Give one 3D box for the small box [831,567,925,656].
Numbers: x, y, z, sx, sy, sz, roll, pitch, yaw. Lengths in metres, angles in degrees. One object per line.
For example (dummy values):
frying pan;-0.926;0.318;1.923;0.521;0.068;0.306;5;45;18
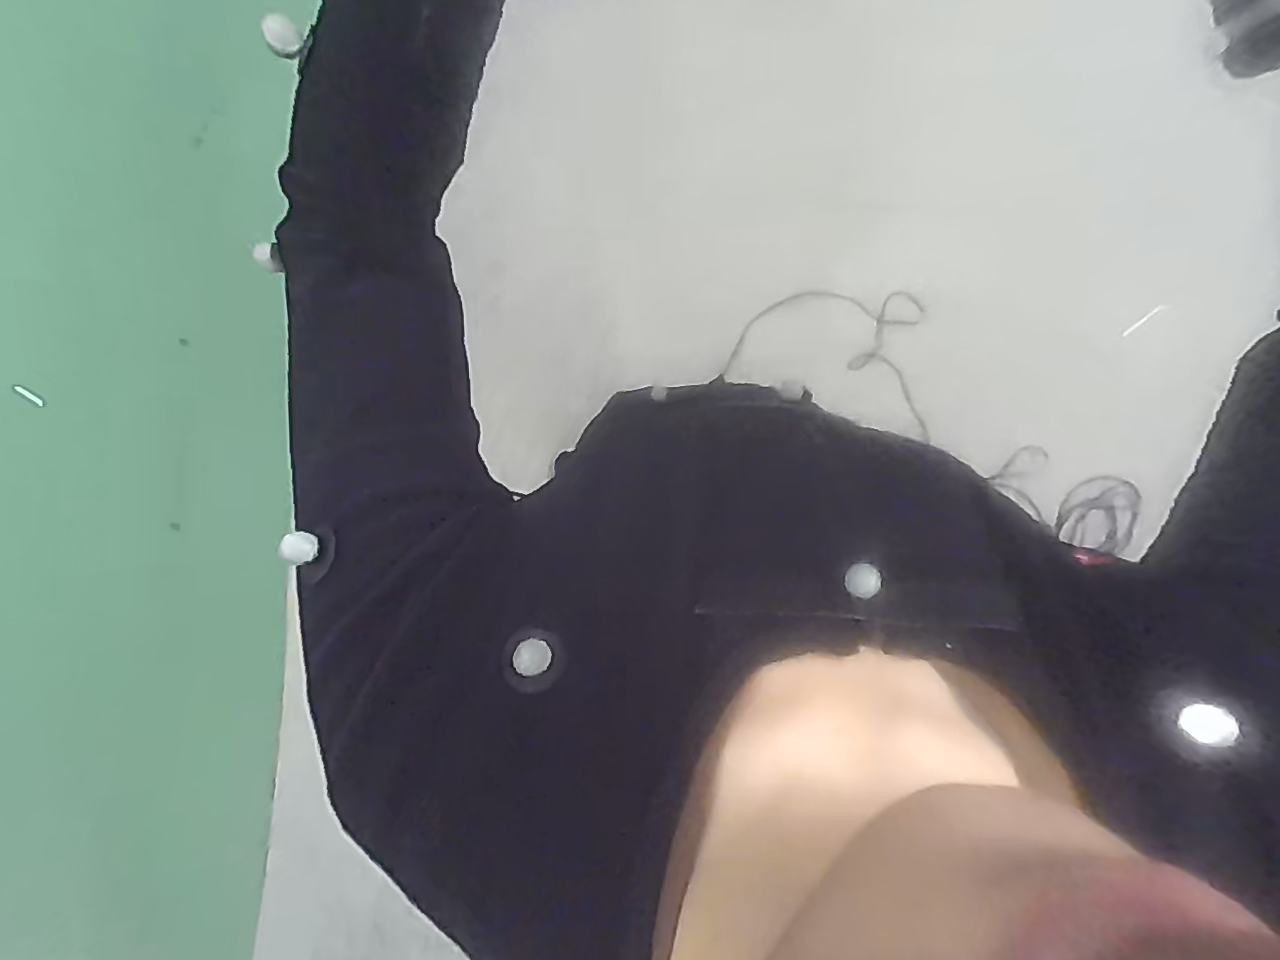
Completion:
small box;0.621;0.343;1.433;0.168;0.176;0.179;6;95;-2
